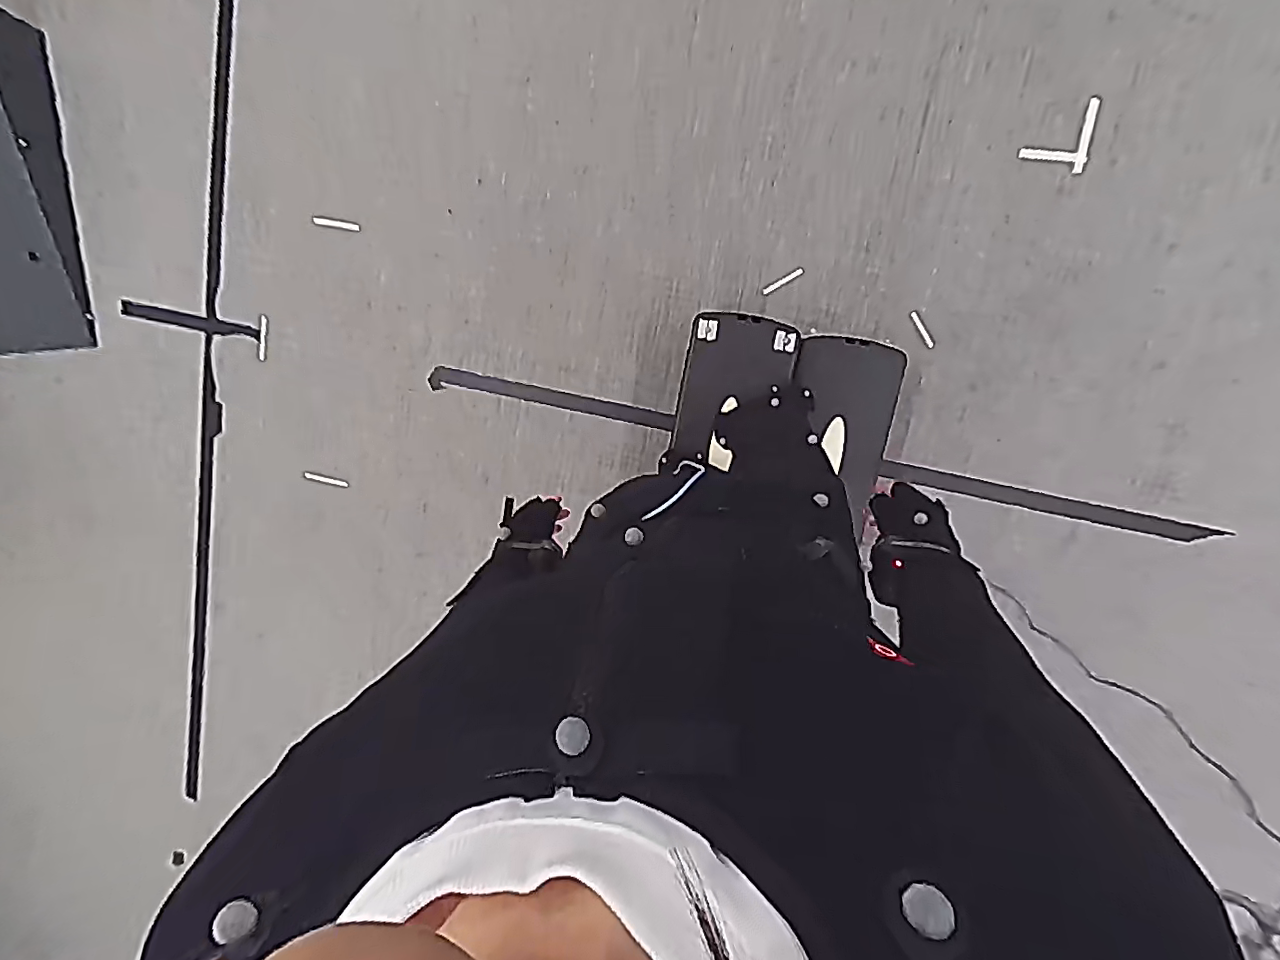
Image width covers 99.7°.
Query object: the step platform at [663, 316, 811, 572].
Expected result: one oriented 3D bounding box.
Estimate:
[{"bbox_3d":[0.256,-0.093,1.487,0.286,0.204,0.684,11,98,6],"label":"step platform"}]
